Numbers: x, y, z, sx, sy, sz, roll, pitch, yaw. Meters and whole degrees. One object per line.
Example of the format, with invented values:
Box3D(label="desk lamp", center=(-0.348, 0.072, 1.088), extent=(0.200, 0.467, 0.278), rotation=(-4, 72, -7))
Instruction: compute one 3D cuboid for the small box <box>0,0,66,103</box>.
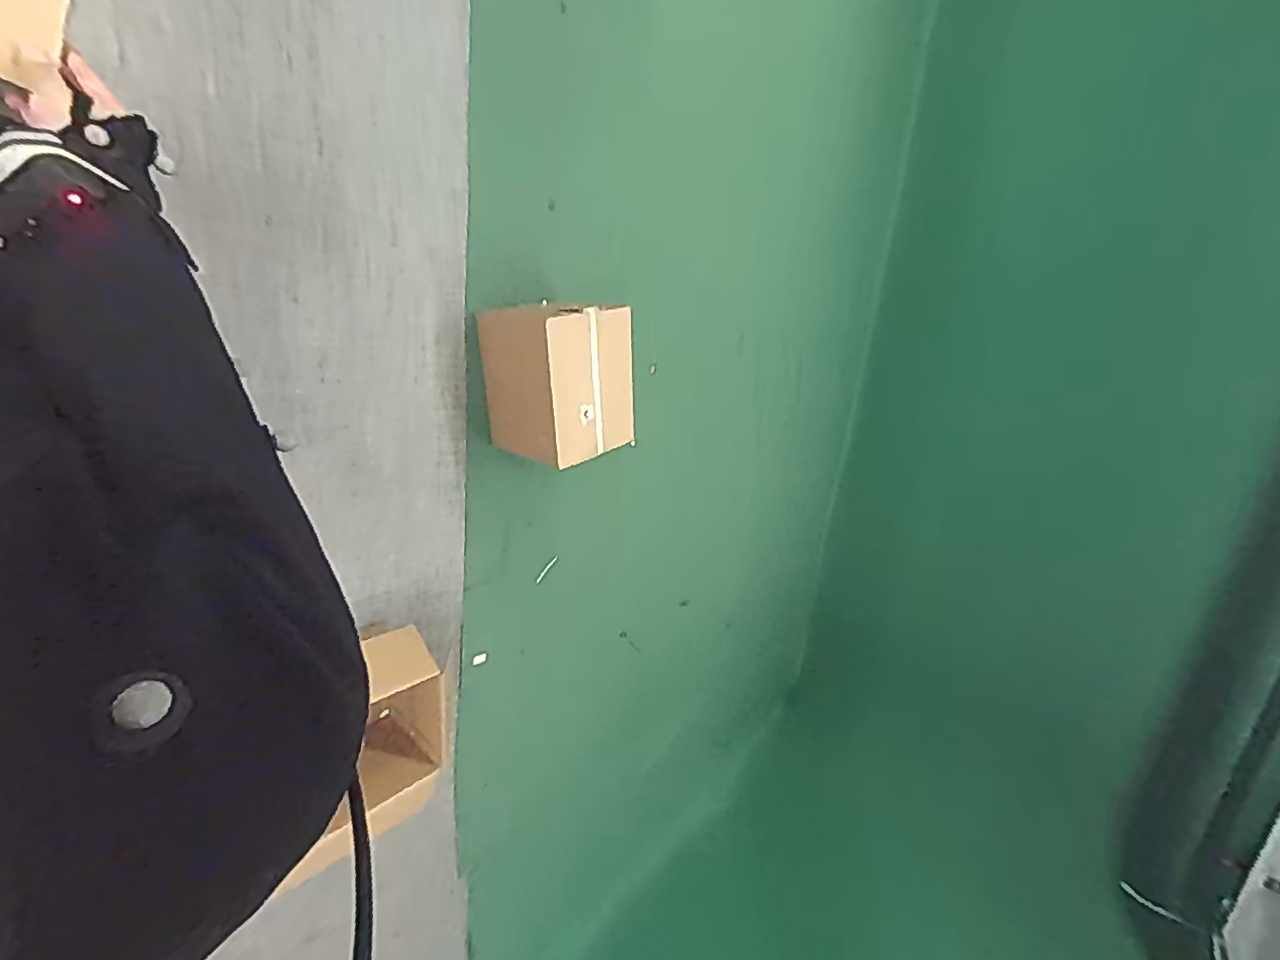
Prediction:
Box3D(label="small box", center=(-0.539, -0.401, 0.381), extent=(0.179, 0.176, 0.168), rotation=(7, 101, -55))
